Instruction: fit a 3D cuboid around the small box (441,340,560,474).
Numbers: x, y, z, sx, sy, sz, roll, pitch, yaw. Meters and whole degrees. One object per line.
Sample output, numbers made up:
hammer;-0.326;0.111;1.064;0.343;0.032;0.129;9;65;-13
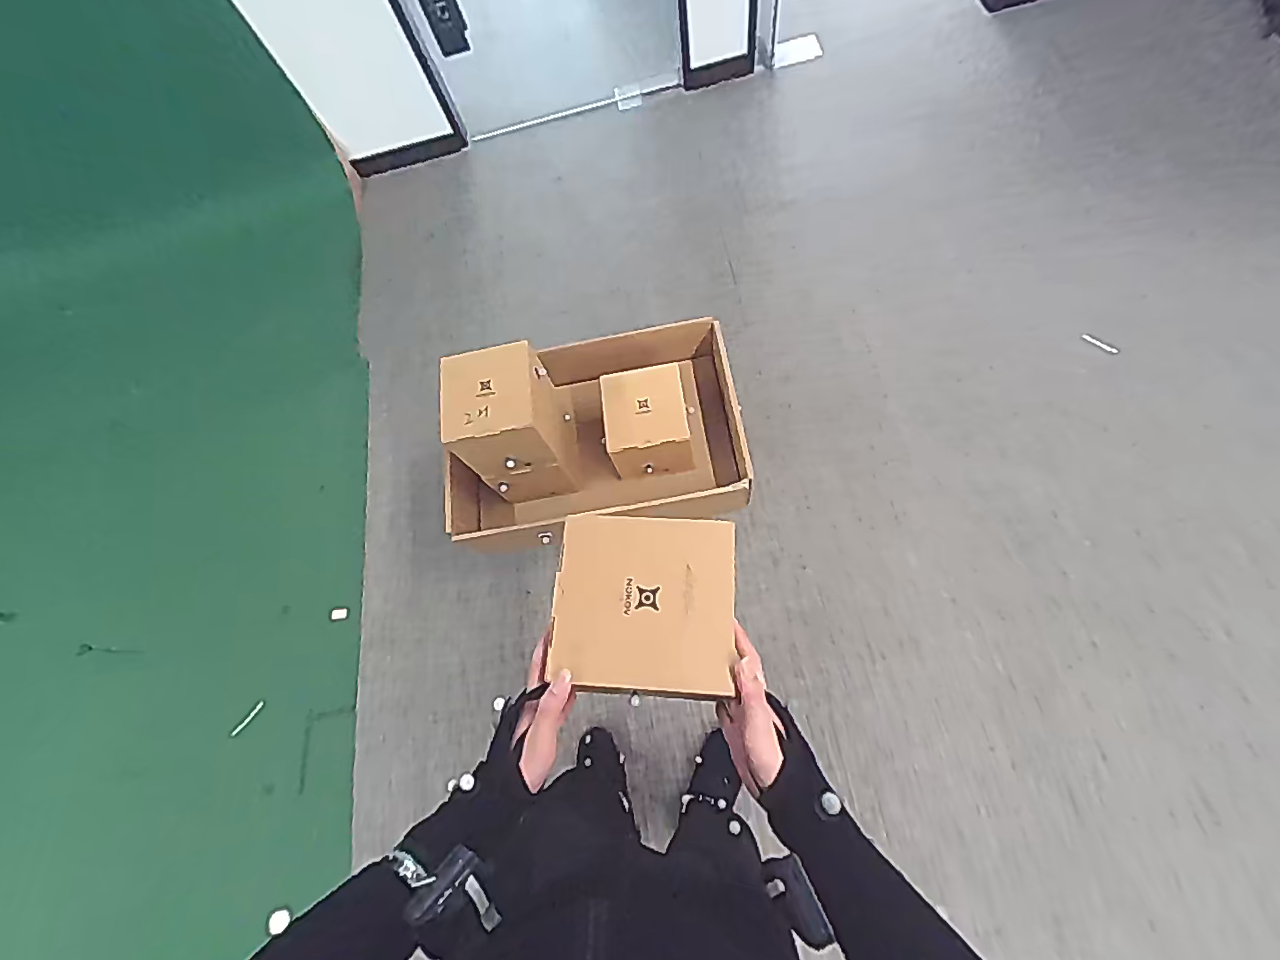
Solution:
small box;-0.254;-0.130;1.007;0.168;0.176;0.179;-10;69;5

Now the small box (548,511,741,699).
small box;0.014;0.142;0.587;0.179;0.176;0.168;2;66;5
